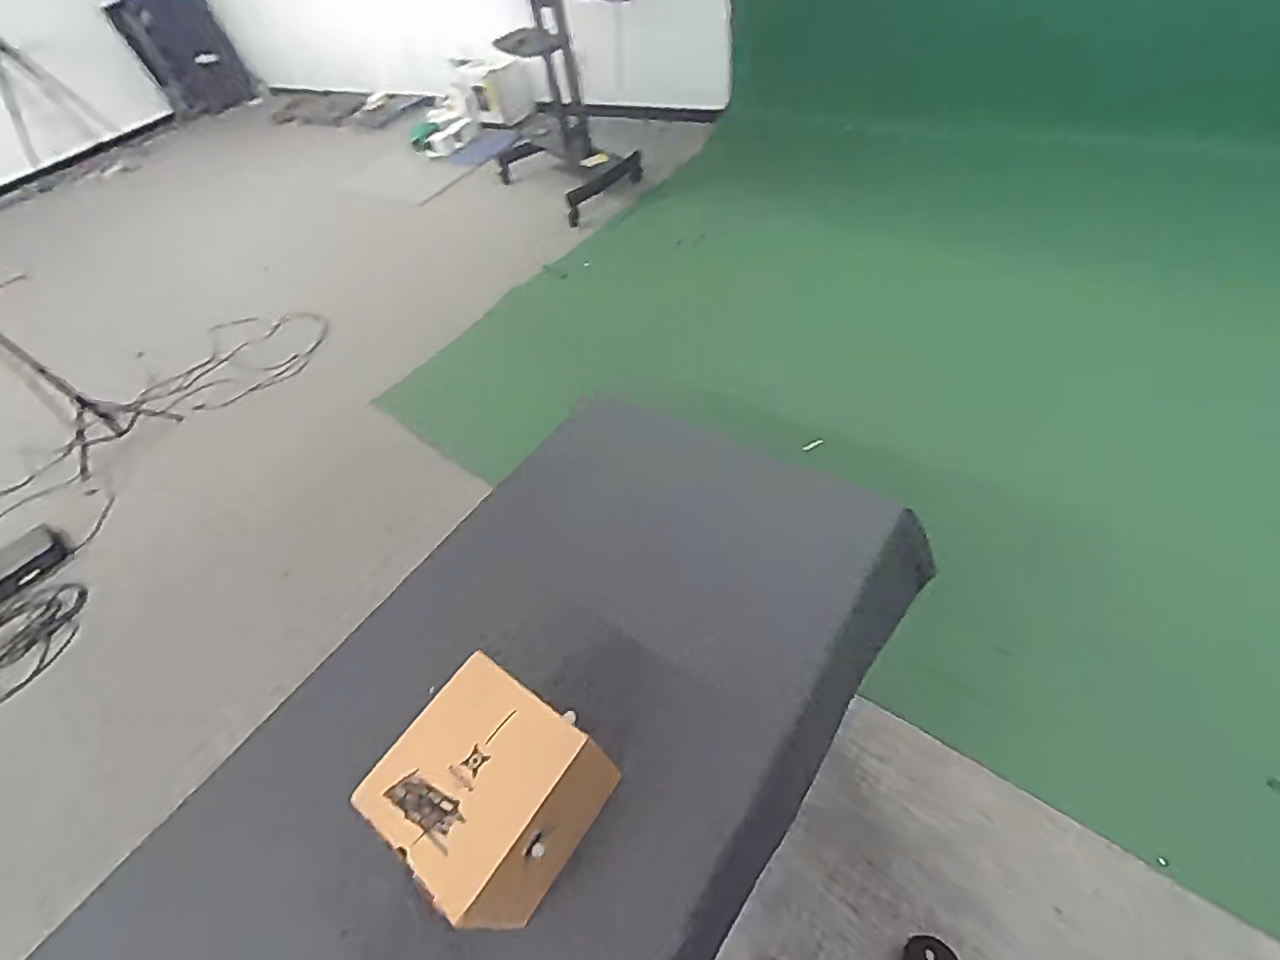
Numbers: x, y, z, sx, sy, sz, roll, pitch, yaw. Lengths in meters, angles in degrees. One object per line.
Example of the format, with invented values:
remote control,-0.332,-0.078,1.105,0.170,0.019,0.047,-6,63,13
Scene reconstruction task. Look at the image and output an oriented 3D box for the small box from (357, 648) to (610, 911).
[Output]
small box,-0.153,0.326,0.589,0.168,0.176,0.179,25,59,29
